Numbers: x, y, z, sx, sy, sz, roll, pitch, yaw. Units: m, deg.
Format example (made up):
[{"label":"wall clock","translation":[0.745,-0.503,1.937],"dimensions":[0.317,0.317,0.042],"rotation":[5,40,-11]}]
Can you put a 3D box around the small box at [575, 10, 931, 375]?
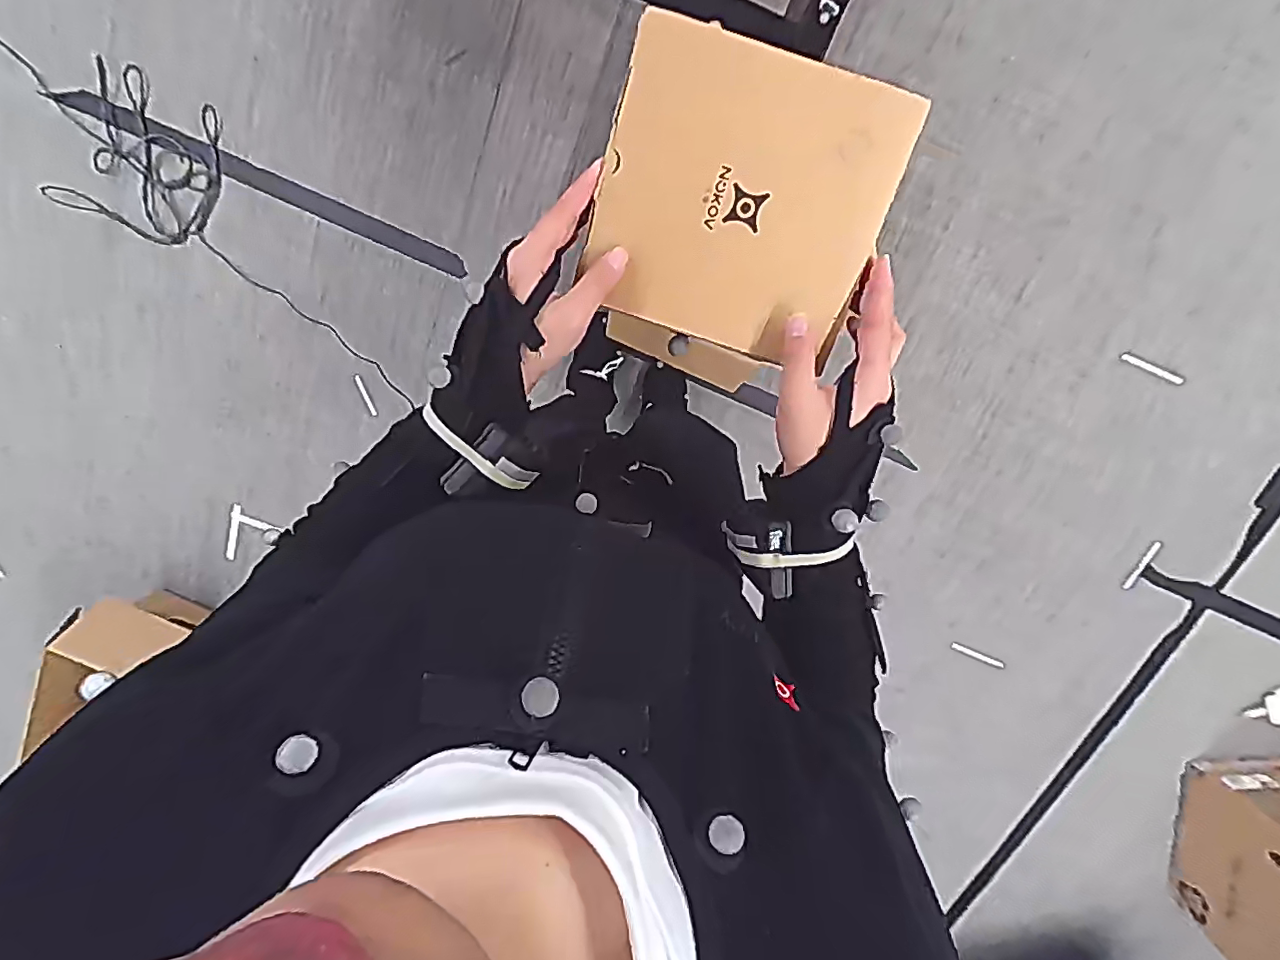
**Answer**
[{"label":"small box","translation":[0.069,-0.191,0.407],"dimensions":[0.179,0.176,0.168],"rotation":[18,107,0]}]
